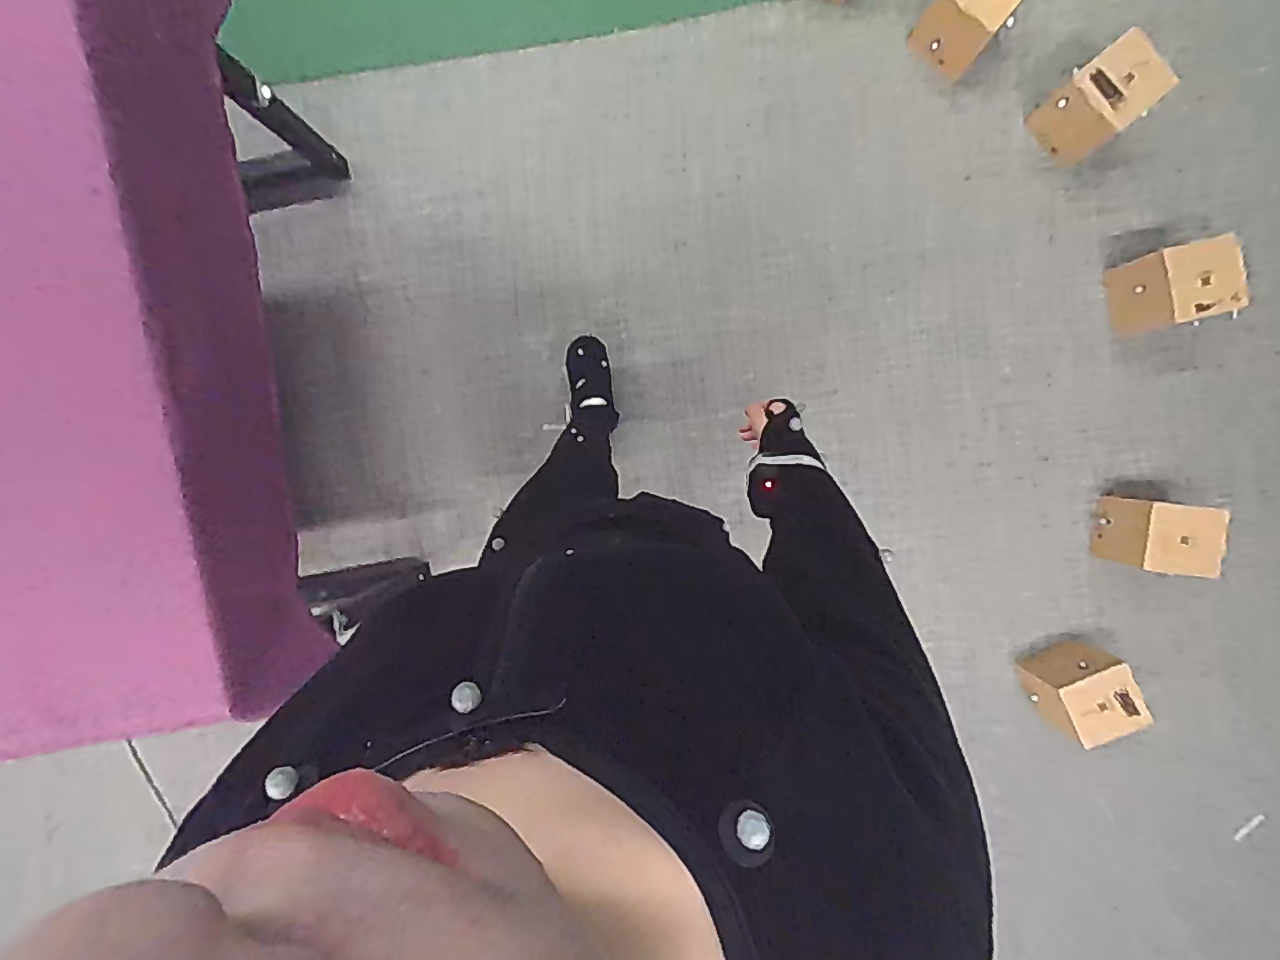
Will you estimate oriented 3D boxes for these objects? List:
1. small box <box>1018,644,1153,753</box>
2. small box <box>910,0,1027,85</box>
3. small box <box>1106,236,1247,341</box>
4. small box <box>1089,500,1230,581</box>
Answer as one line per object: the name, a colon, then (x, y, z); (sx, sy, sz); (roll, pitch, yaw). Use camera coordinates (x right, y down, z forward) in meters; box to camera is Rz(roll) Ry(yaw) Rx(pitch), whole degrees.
small box: (1.118, 0.543, 1.371); (0.179, 0.176, 0.168); (-25, 91, 4)
small box: (0.795, -1.119, 1.300); (0.168, 0.176, 0.179); (40, 94, 0)
small box: (1.286, -0.455, 1.311); (0.168, 0.176, 0.179); (-13, 91, 3)
small box: (1.281, 0.143, 1.344); (0.179, 0.176, 0.168); (7, 93, 2)
